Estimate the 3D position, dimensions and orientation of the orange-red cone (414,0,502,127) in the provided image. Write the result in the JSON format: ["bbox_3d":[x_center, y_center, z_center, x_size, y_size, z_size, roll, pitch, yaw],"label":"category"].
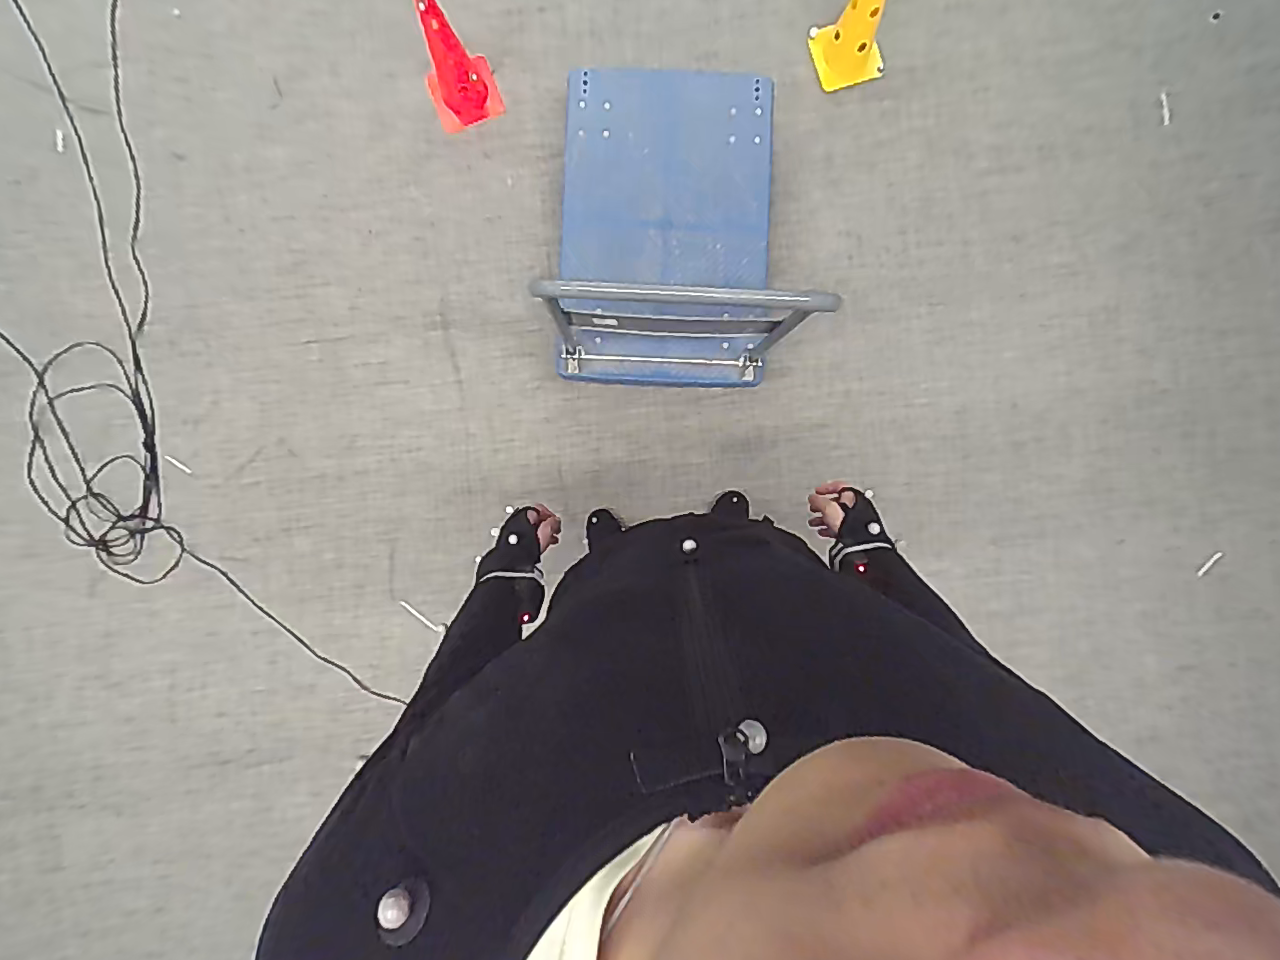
[{"bbox_3d":[-0.549,-1.212,1.506,0.199,0.360,0.198,-20,88,1],"label":"orange-red cone"}]
